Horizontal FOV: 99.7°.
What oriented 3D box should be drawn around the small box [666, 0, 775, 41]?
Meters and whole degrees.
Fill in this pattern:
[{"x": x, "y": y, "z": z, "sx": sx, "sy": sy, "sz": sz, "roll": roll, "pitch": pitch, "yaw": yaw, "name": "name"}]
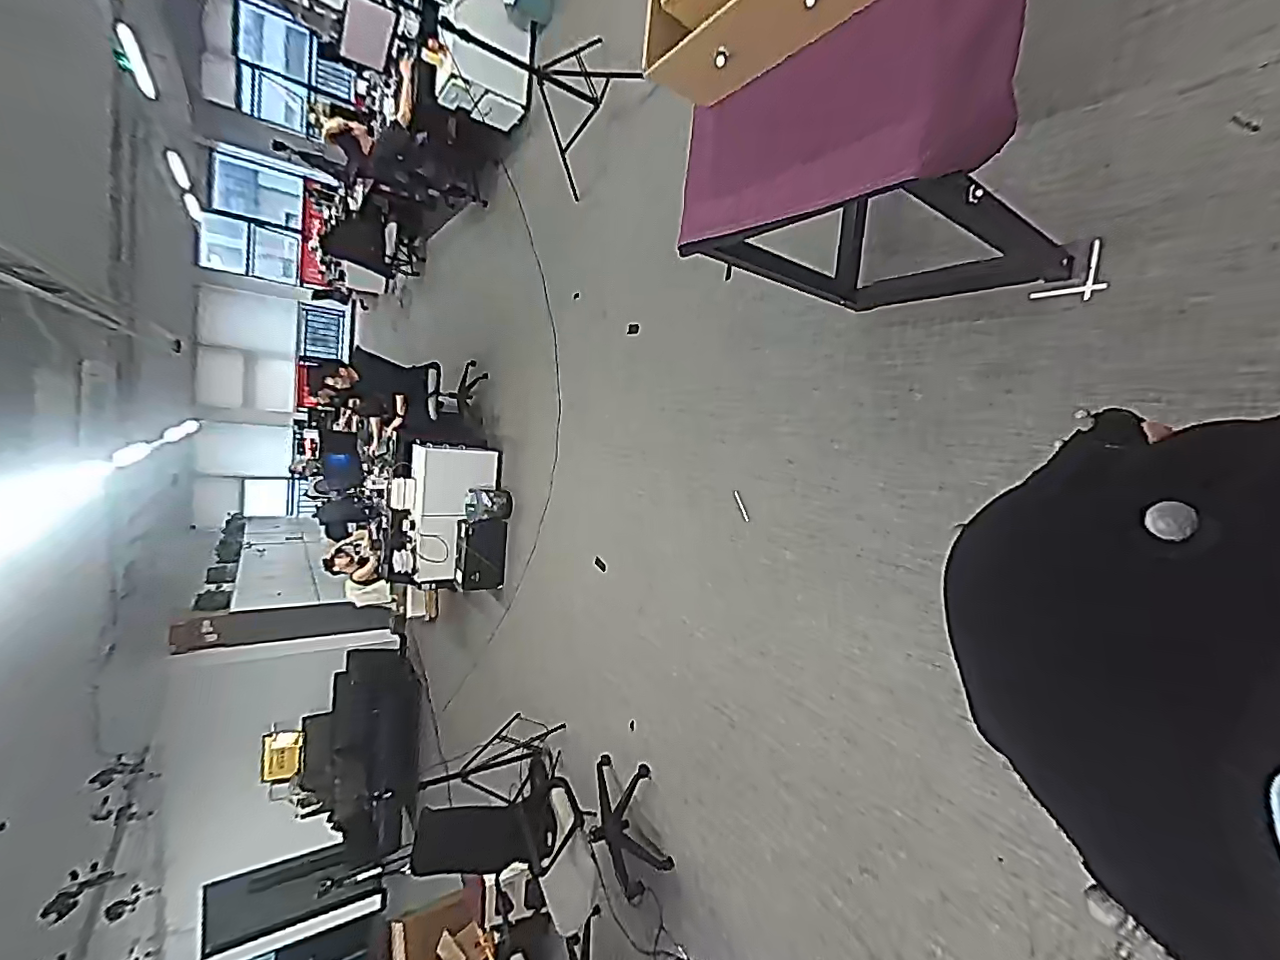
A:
[{"x": 0.162, "y": -1.008, "z": 1.034, "sx": 0.168, "sy": 0.176, "sz": 0.179, "roll": 8, "pitch": 94, "yaw": 54, "name": "small box"}]
